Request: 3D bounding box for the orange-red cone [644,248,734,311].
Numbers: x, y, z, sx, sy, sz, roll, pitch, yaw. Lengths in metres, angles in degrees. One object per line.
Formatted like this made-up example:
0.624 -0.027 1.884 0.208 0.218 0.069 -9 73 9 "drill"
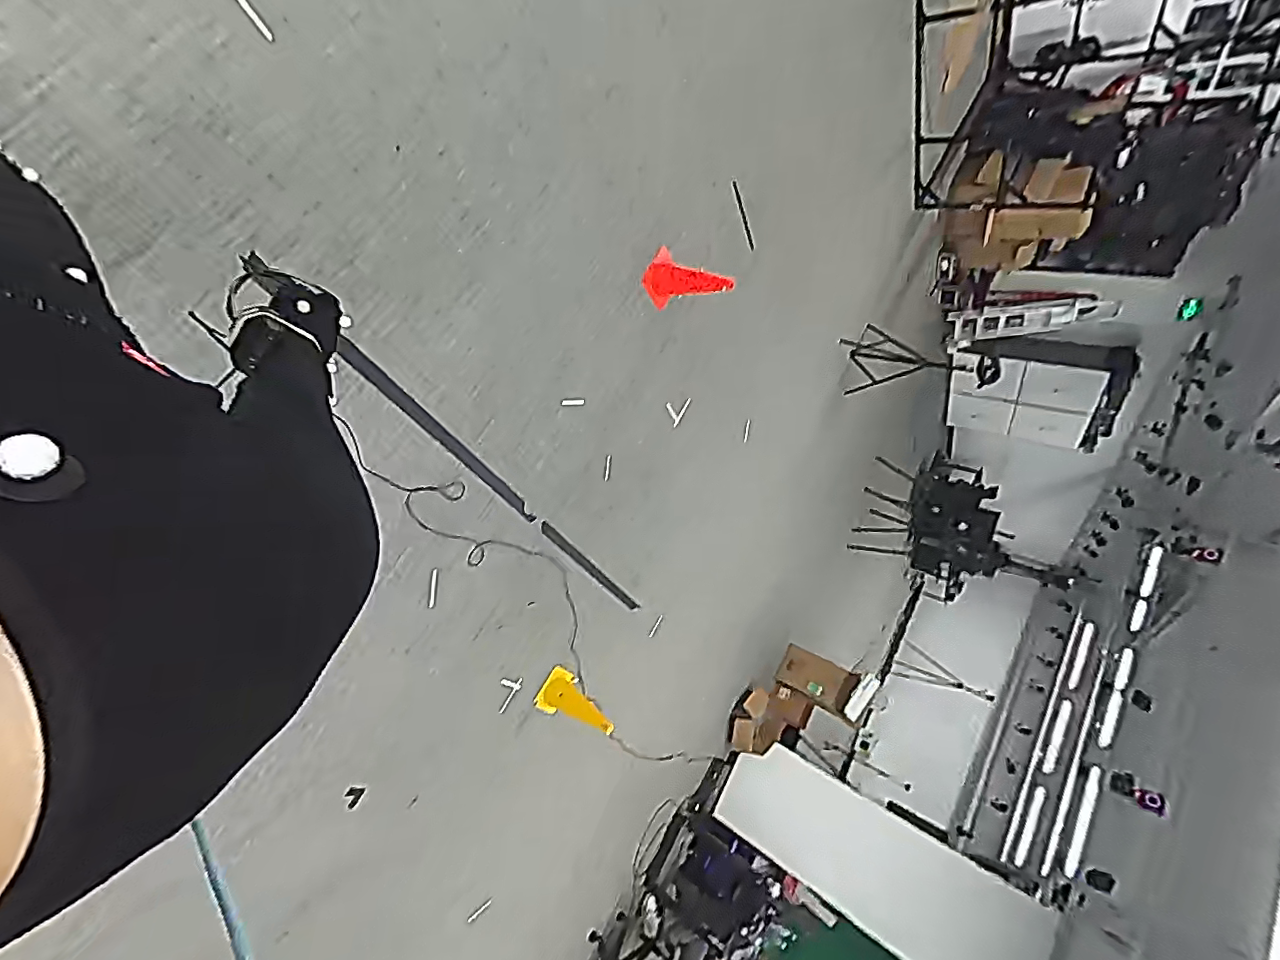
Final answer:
0.225 -0.817 2.228 0.198 0.360 0.199 -61 143 -14 "orange-red cone"
